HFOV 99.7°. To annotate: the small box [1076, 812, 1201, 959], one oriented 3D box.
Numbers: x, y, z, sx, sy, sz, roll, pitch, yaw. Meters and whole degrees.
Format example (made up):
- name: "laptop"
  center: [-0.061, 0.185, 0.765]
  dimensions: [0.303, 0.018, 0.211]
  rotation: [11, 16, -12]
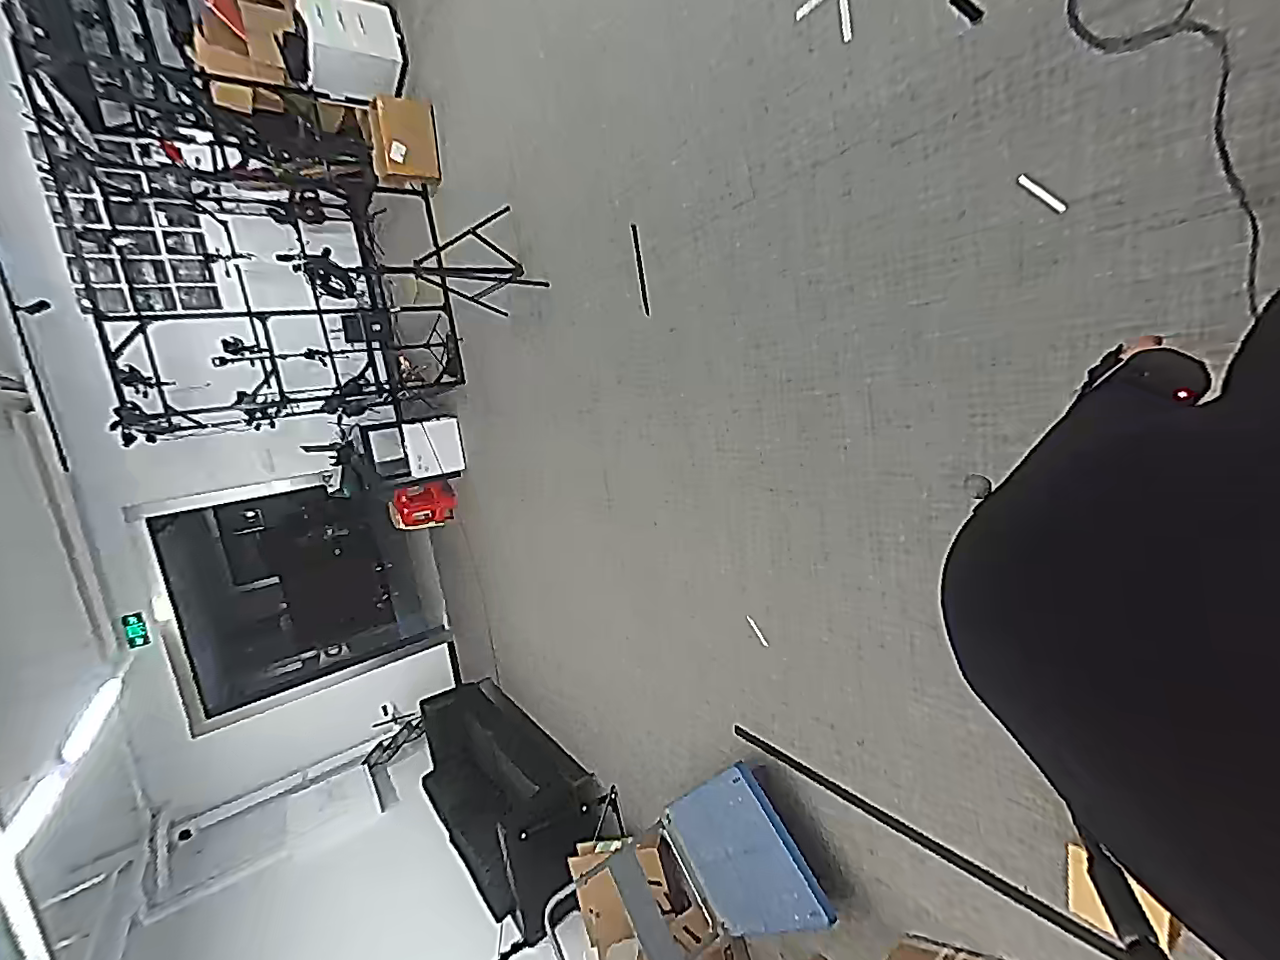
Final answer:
- name: "small box"
  center: [1.069, 0.871, 1.162]
  dimensions: [0.168, 0.176, 0.179]
  rotation: [5, 106, 56]
